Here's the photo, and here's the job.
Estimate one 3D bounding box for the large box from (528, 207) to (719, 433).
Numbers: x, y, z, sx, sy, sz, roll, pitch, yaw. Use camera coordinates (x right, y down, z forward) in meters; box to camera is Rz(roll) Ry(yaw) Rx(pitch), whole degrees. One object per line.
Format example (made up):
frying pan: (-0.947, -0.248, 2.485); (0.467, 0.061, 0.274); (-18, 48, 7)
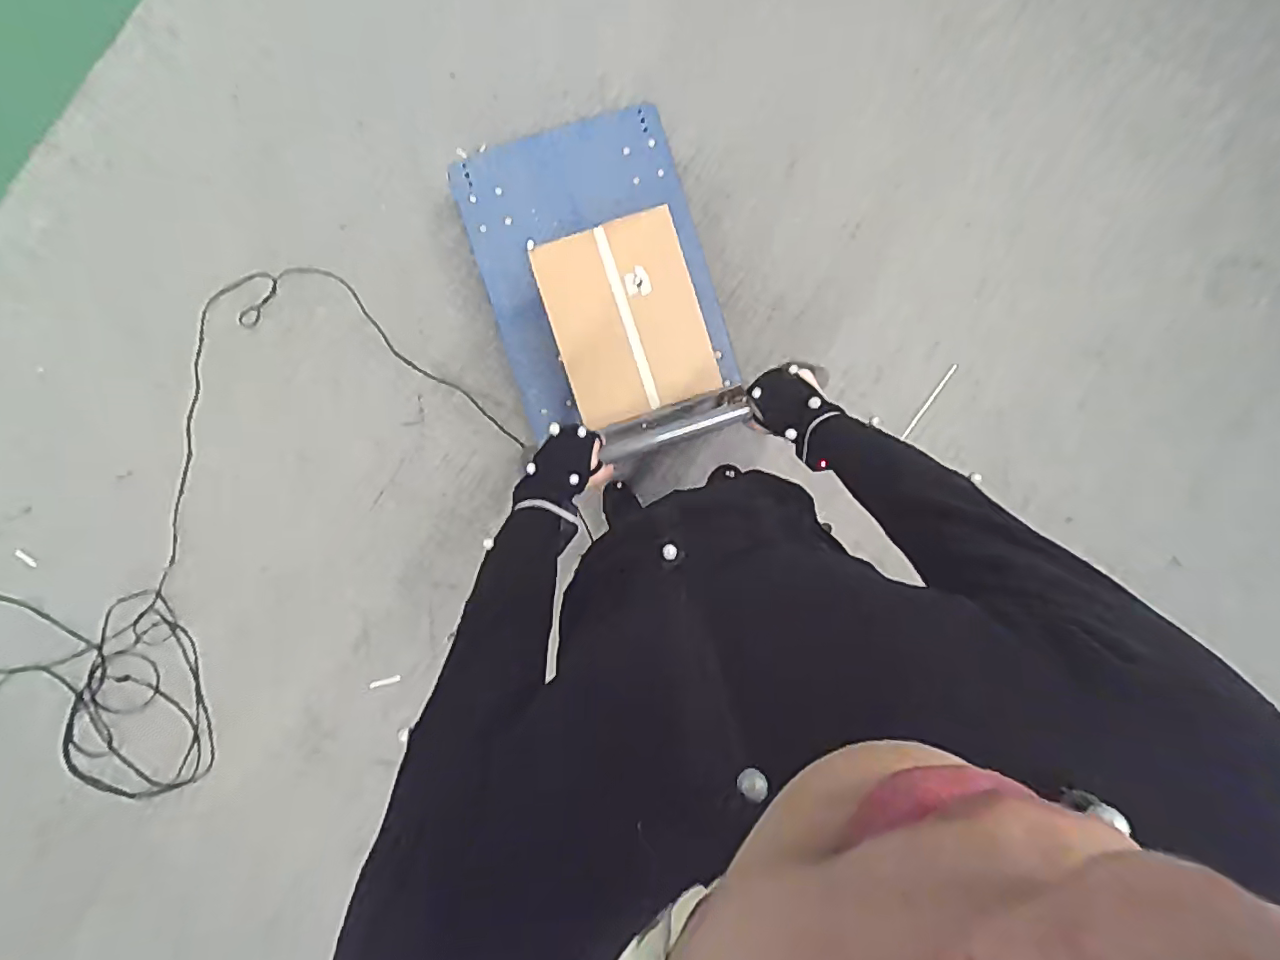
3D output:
large box: (-0.034, -0.355, 1.307); (0.320, 0.320, 0.408); (-18, 92, -1)
